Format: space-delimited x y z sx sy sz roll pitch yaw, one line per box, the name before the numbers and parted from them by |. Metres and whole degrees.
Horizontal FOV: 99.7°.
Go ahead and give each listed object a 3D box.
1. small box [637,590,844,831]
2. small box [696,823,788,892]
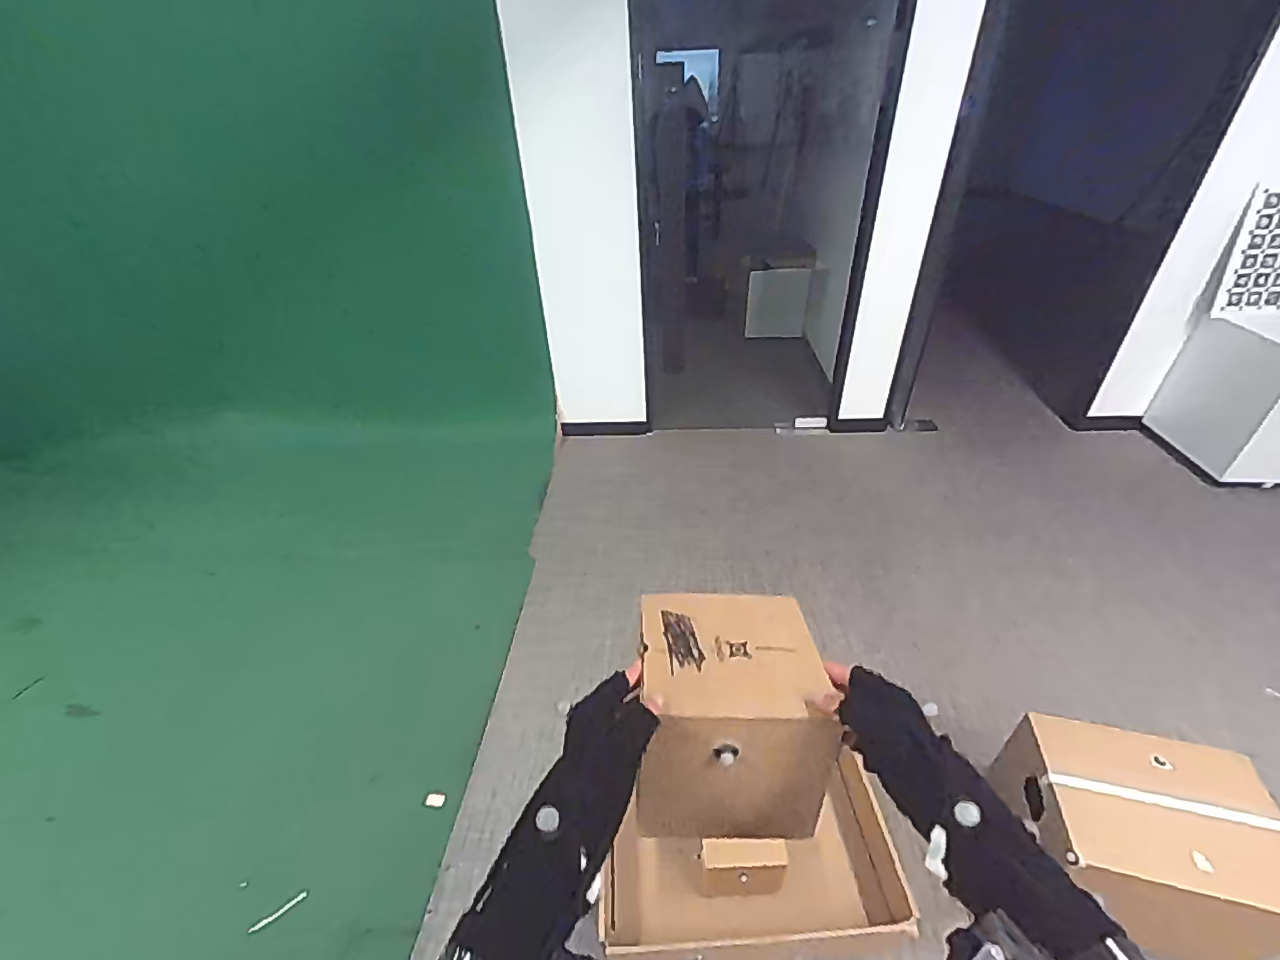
small box | 0.086 0.234 0.563 0.179 0.176 0.168 3 26 -2
small box | 0.219 0.800 1.213 0.179 0.176 0.168 -2 36 -1
